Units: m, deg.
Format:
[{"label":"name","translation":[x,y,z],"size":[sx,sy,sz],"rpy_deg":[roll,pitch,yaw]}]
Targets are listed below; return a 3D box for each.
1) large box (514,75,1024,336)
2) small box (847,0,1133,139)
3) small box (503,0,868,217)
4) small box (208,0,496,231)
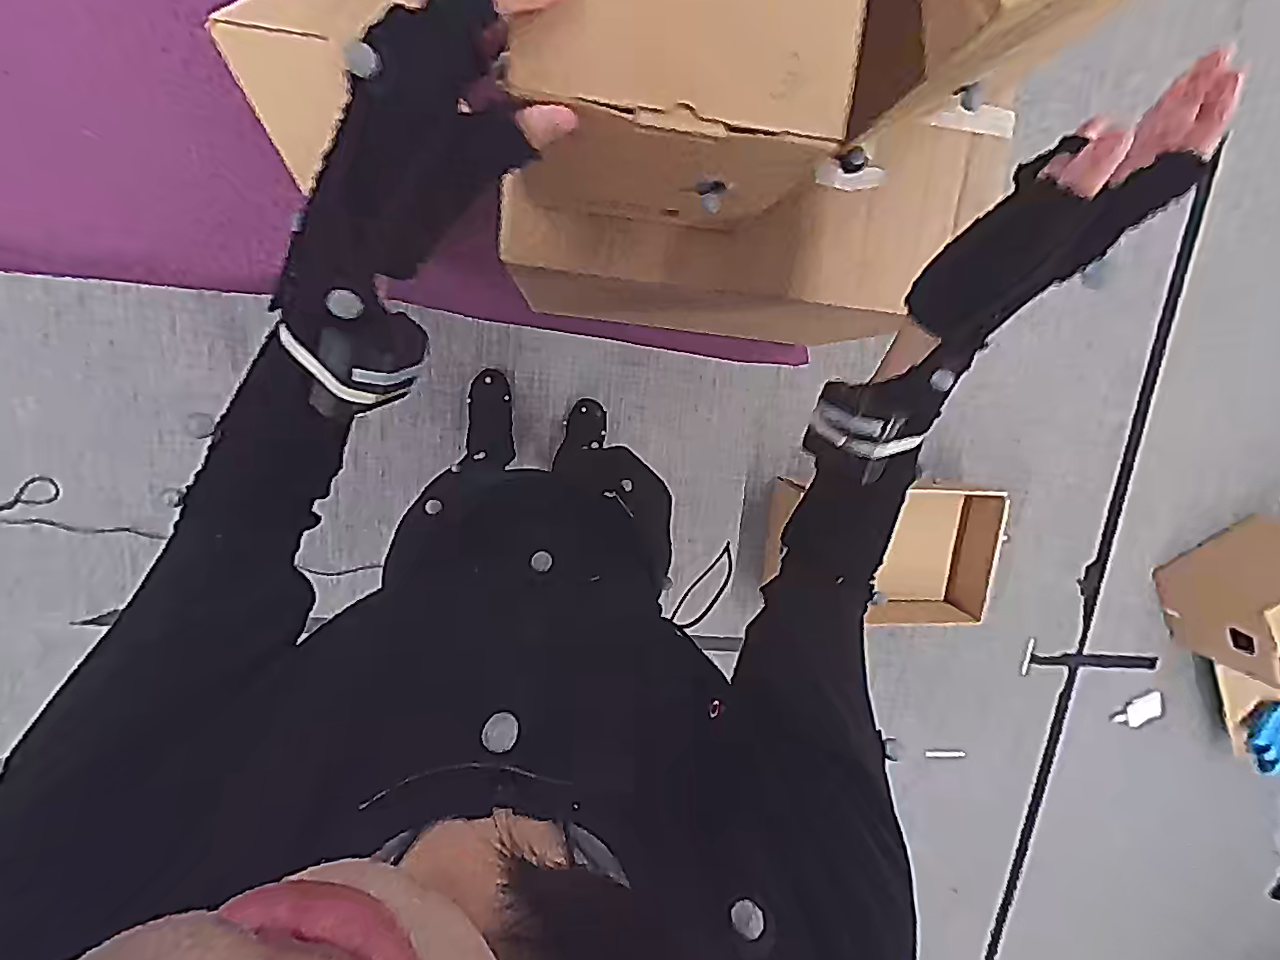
[{"label":"large box","translation":[0.088,-0.333,0.559],"size":[0.408,0.320,0.320],"rpy_deg":[4,101,-9]},{"label":"small box","translation":[0.207,-0.350,0.318],"size":[0.168,0.176,0.179],"rpy_deg":[-23,101,-3]},{"label":"small box","translation":[0.017,-0.271,0.312],"size":[0.168,0.176,0.179],"rpy_deg":[3,100,-9]},{"label":"small box","translation":[-0.276,-0.391,0.562],"size":[0.179,0.176,0.168],"rpy_deg":[-26,103,-1]}]
